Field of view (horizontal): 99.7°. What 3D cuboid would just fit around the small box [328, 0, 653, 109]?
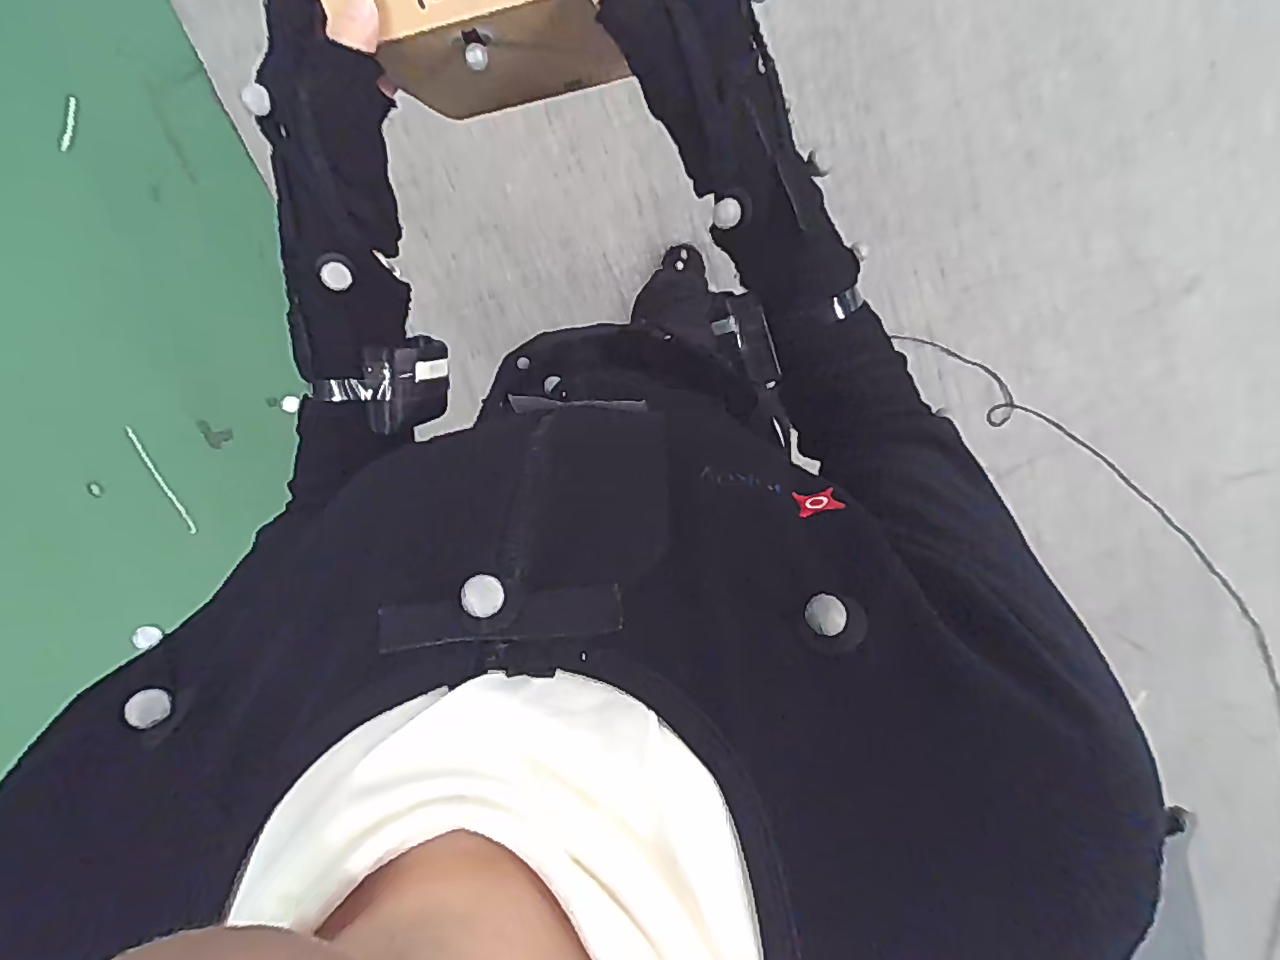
[{"bbox_3d":[-0.088,-0.349,0.310,0.168,0.176,0.179,-10,113,6],"label":"small box"}]
